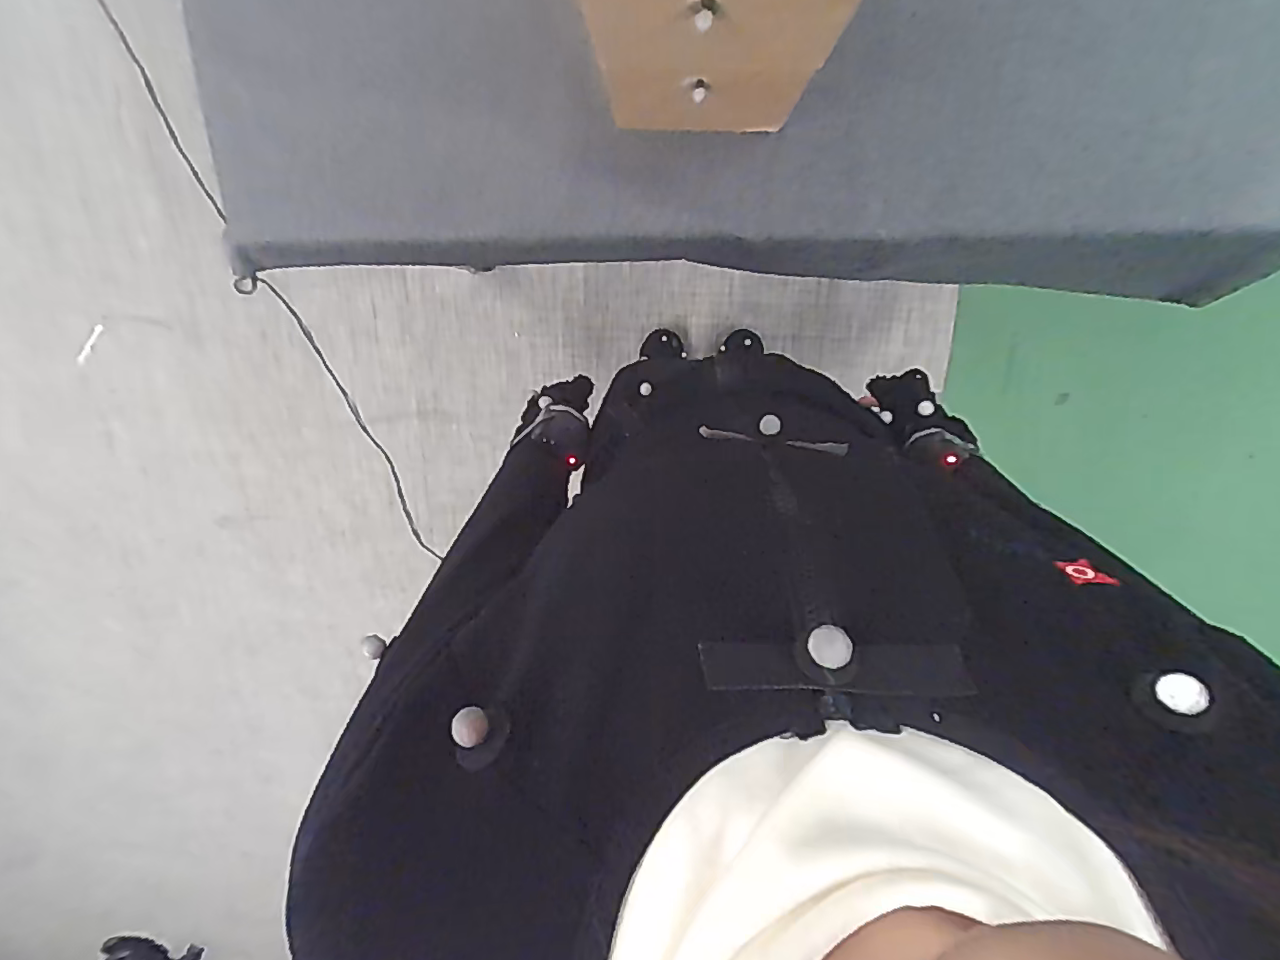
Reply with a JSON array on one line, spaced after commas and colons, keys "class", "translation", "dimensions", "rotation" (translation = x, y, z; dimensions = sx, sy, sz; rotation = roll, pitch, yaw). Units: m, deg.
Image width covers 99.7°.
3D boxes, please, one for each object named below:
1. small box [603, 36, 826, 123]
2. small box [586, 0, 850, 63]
[{"class": "small box", "translation": [0.065, -0.434, 0.477], "dimensions": [0.179, 0.176, 0.168], "rotation": [2, 108, 3]}, {"class": "small box", "translation": [0.053, -0.380, 0.323], "dimensions": [0.179, 0.176, 0.168], "rotation": [4, 108, 5]}]
